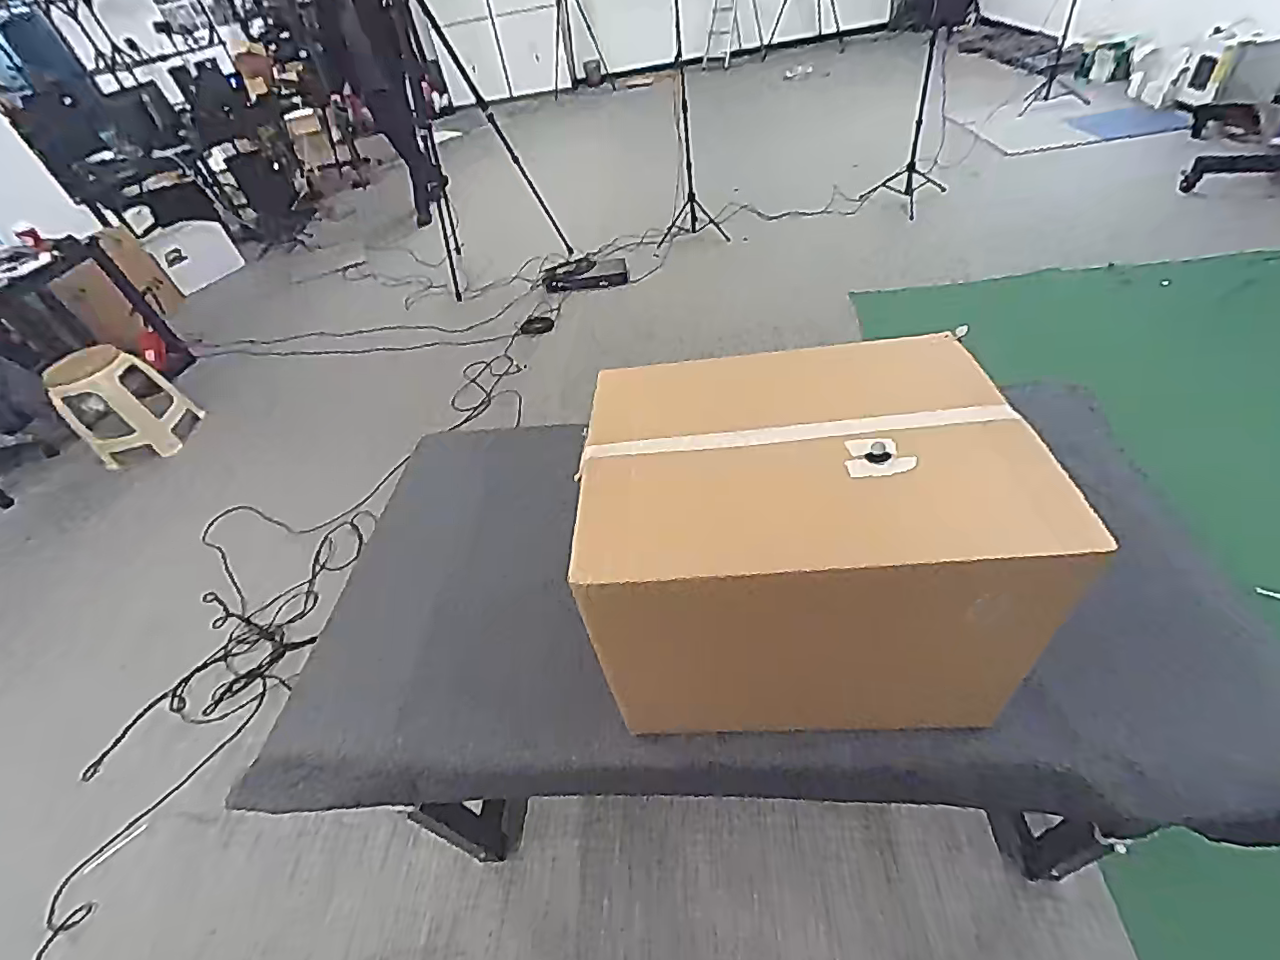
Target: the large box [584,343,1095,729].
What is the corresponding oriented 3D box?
[{"bbox_3d":[0.168,0.070,0.631,0.408,0.320,0.320,-4,44,6],"label":"large box"}]
